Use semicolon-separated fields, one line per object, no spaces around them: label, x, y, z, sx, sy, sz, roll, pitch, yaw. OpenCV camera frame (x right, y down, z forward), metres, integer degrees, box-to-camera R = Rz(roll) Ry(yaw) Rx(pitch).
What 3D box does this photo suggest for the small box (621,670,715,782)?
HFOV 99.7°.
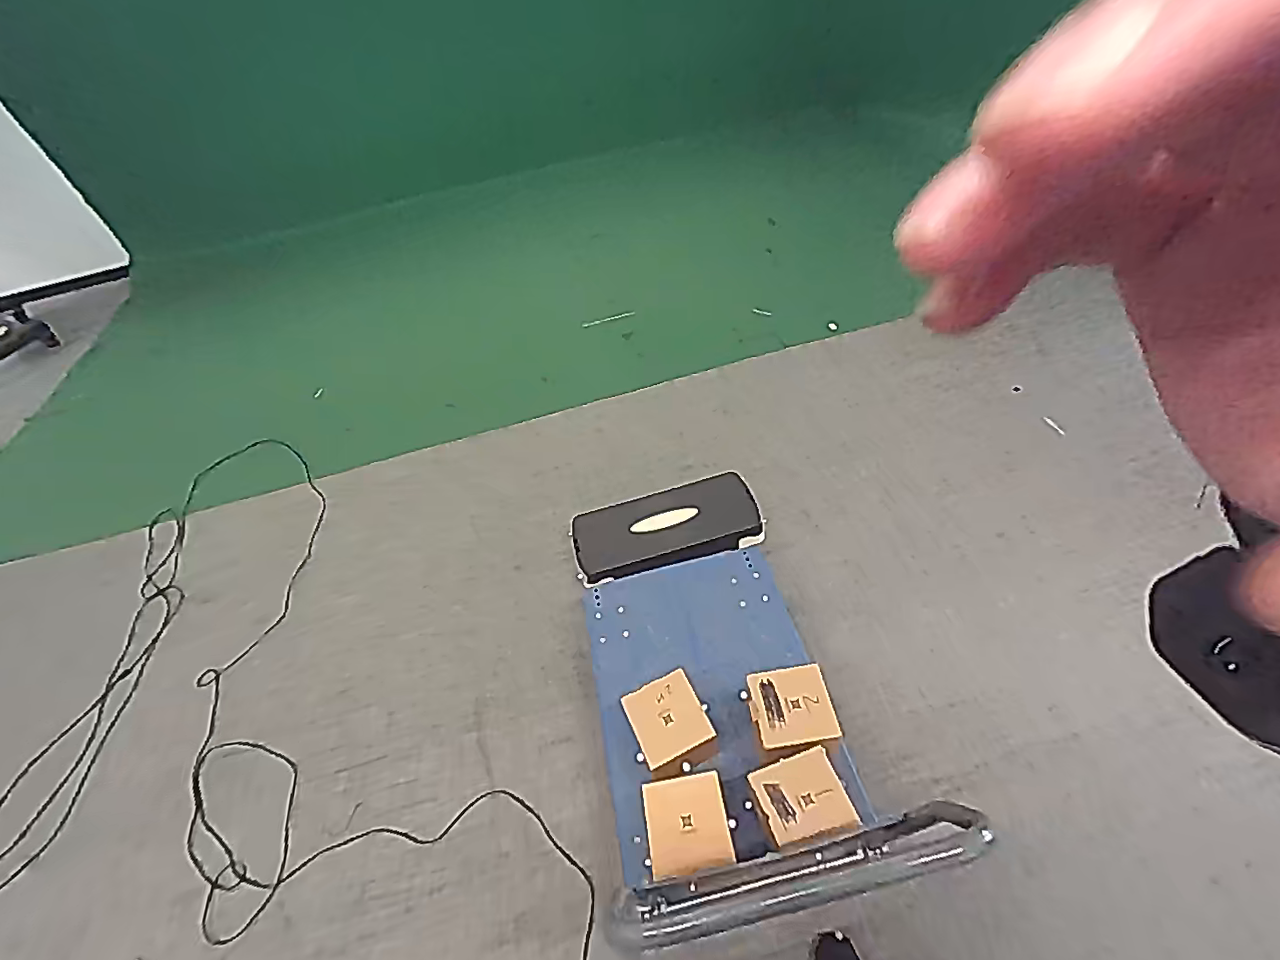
small box;0.070;0.597;1.297;0.168;0.176;0.179;-22;49;-11
